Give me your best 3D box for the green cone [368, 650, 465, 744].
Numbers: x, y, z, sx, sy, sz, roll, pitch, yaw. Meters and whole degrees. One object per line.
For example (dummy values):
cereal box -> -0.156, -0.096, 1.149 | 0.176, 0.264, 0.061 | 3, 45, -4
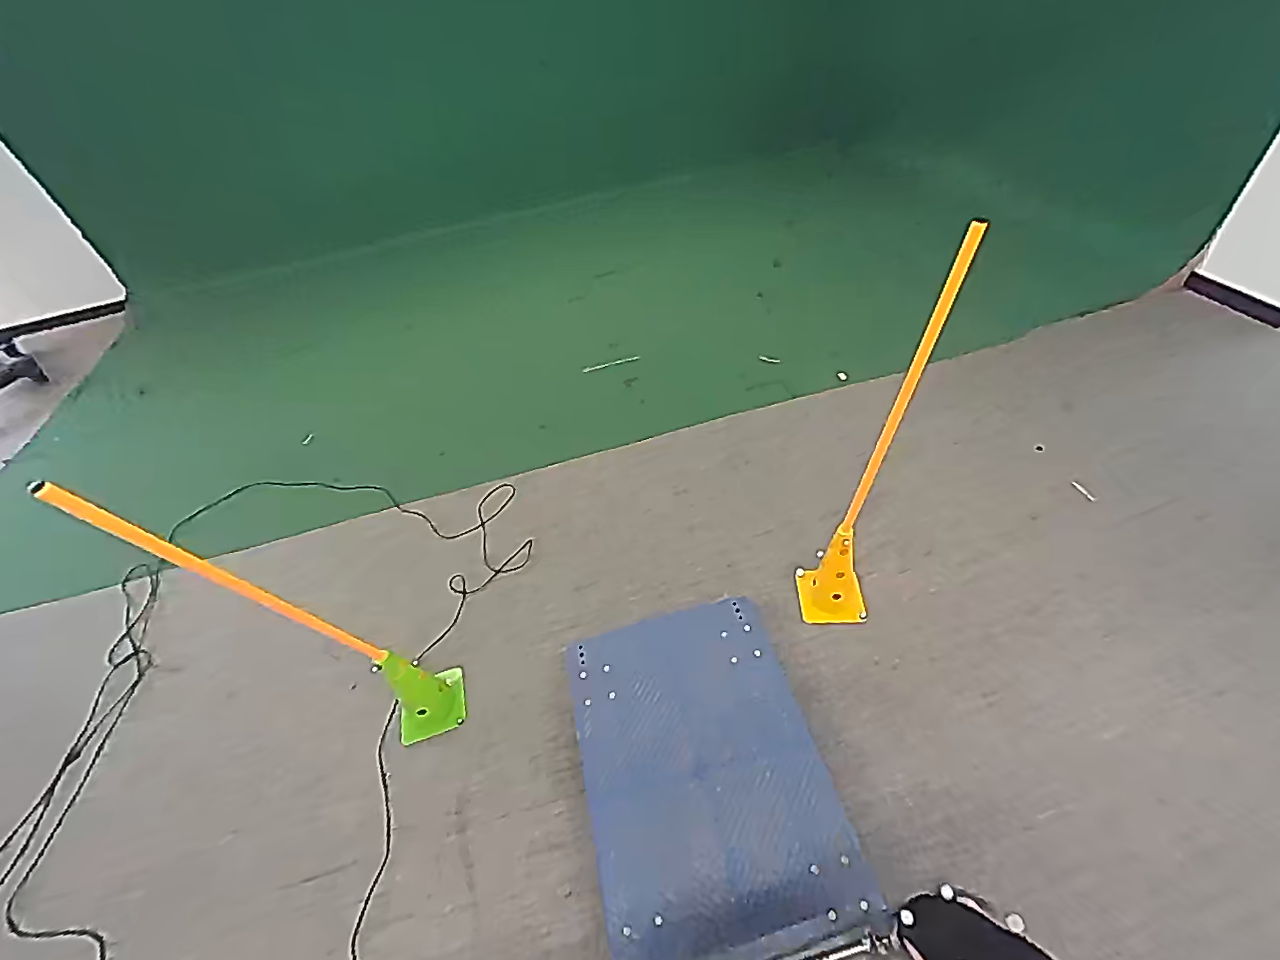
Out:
green cone -> -0.685, 0.594, 1.594 | 0.202, 0.368, 0.200 | -19, 46, -6
